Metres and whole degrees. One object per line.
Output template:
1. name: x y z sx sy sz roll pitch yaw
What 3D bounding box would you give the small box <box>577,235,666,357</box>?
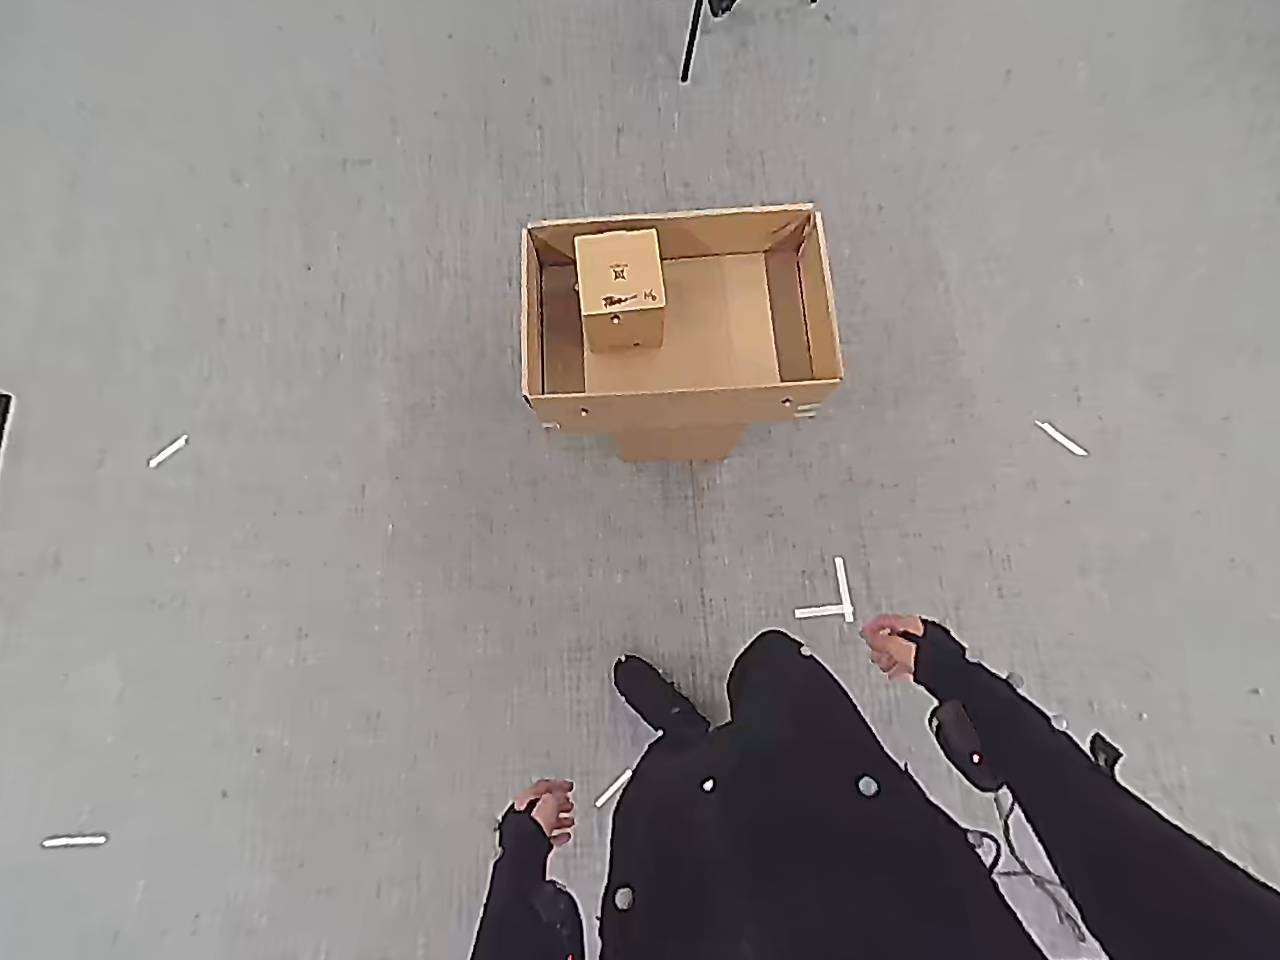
1. small box: -0.039 -0.379 1.134 0.168 0.176 0.179 -6 77 0
